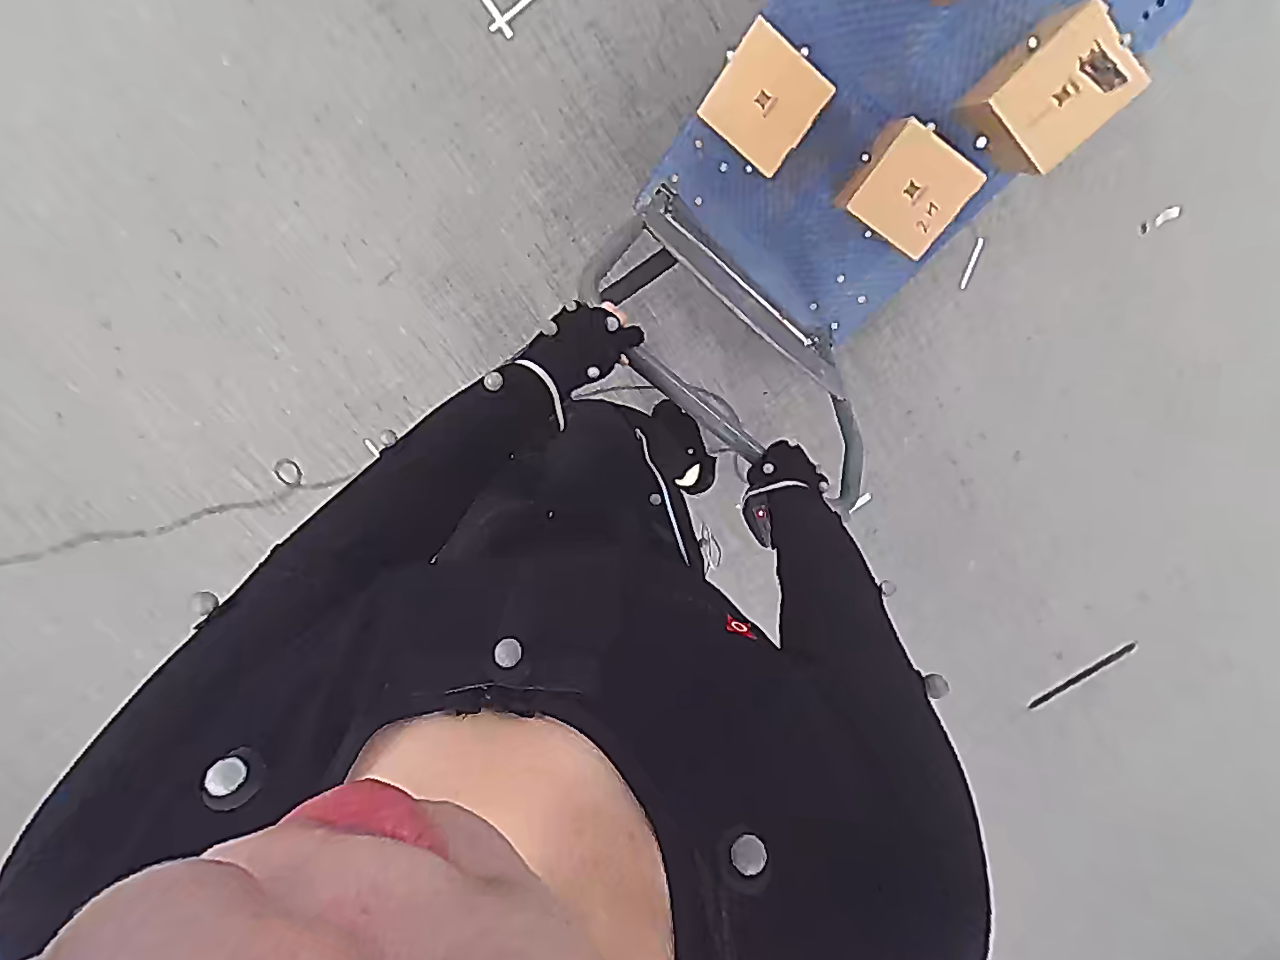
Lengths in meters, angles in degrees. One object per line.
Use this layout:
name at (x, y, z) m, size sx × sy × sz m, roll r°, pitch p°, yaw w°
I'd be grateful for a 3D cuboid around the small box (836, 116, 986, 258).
small box at (0.502, -0.555, 1.034) m, size 0.179 × 0.176 × 0.168 m, roll 32°, pitch 121°, yaw -9°

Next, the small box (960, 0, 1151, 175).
small box at (0.700, -0.664, 0.934) m, size 0.168 × 0.176 × 0.179 m, roll 41°, pitch 120°, yaw -14°

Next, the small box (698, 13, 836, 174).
small box at (0.225, -0.696, 0.996) m, size 0.179 × 0.176 × 0.168 m, roll 34°, pitch 120°, yaw -13°
